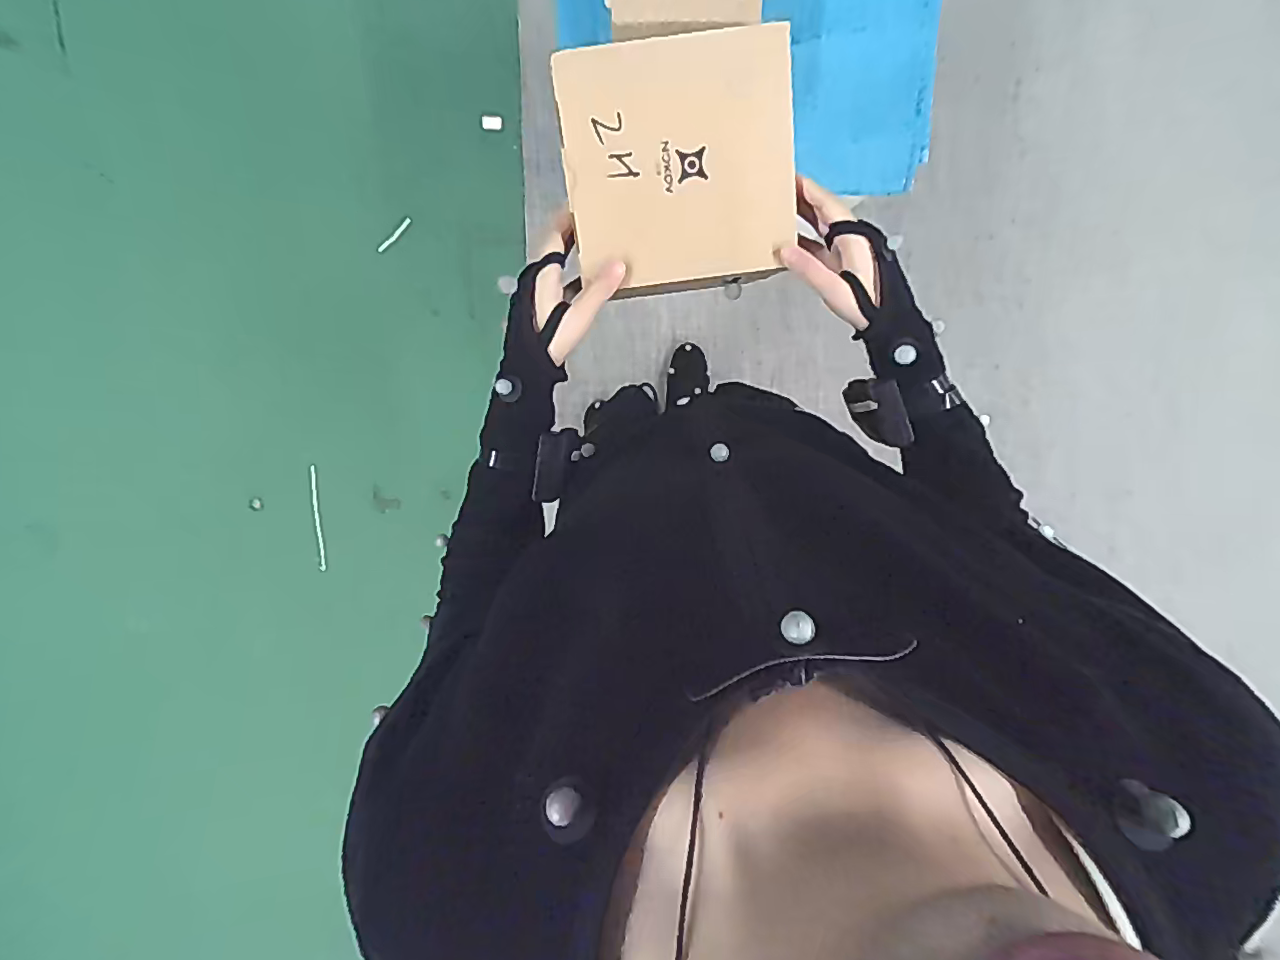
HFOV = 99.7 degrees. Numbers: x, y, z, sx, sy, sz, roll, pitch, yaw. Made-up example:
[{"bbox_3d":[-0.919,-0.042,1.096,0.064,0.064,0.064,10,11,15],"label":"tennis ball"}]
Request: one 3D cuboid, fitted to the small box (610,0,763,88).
[{"bbox_3d":[0.056,-0.622,0.676,0.179,0.176,0.168,1,102,2],"label":"small box"}]
